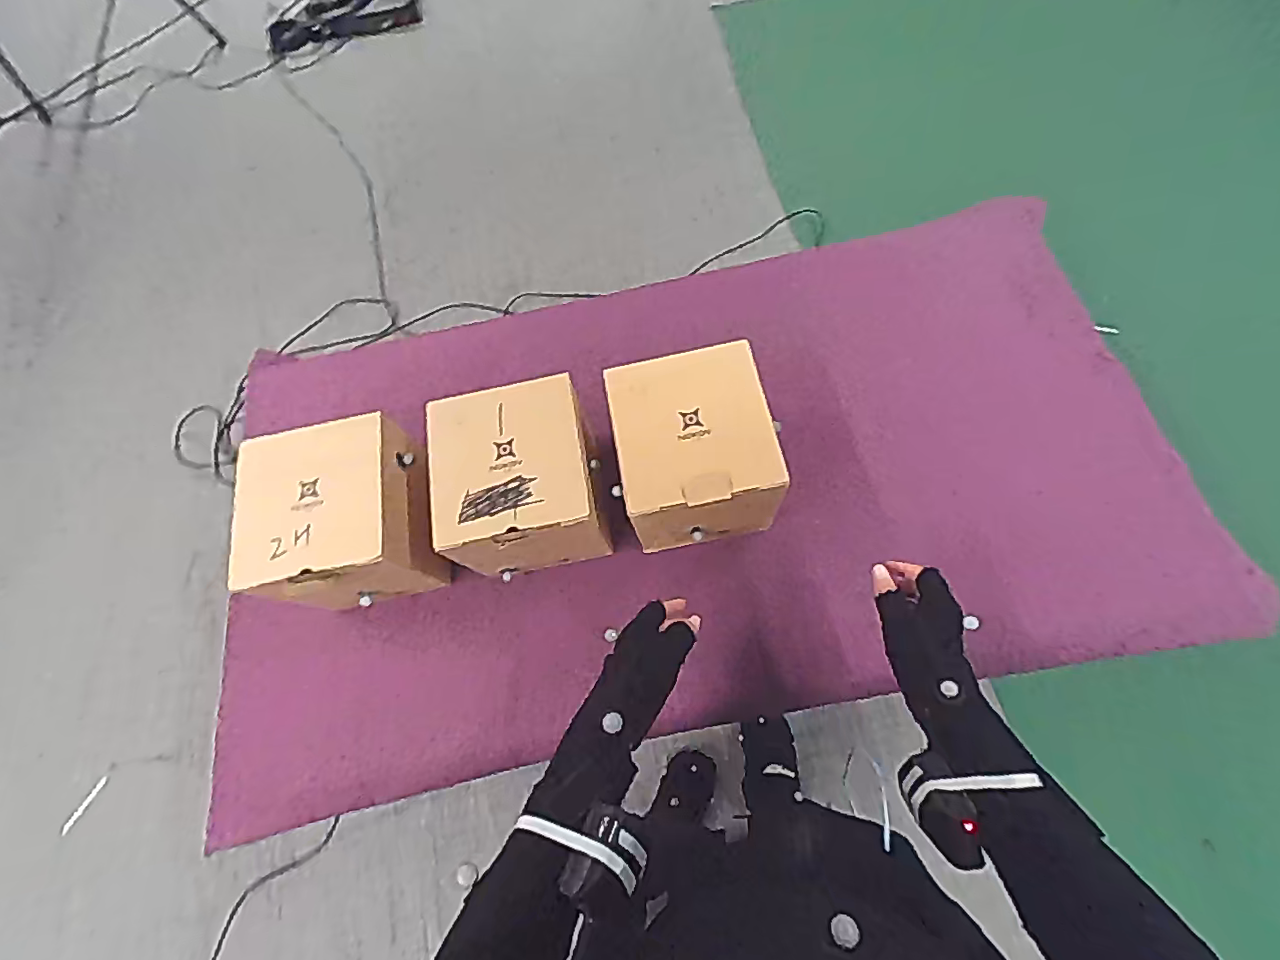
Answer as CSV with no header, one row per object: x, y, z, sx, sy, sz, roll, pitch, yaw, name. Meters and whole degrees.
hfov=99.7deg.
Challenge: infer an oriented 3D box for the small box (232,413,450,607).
-0.348,0.046,0.660,0.168,0.176,0.179,-12,70,2,small box
